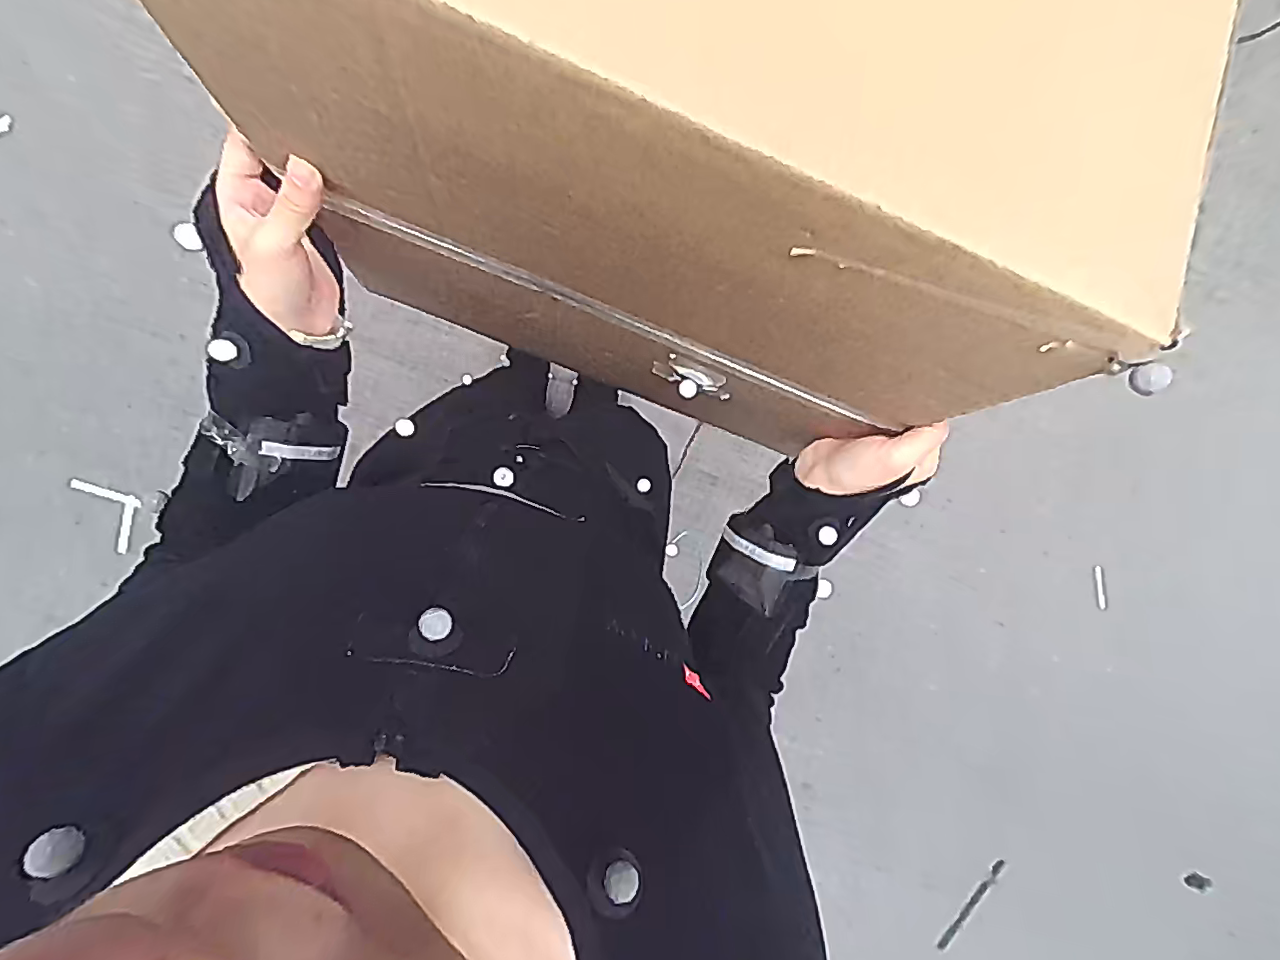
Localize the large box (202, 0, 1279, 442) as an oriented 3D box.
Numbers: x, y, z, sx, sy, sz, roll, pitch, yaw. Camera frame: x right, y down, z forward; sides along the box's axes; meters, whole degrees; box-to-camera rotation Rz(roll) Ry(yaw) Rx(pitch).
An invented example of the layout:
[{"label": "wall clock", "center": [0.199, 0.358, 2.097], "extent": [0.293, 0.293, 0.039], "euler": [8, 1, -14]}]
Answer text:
[{"label": "large box", "center": [0.049, -0.255, 0.323], "extent": [0.408, 0.320, 0.320], "euler": [20, 83, -7]}]

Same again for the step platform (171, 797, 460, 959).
[{"label": "step platform", "center": [-0.868, 1.162, 1.487], "extent": [0.684, 0.204, 0.286], "euler": [28, 100, -8]}]
